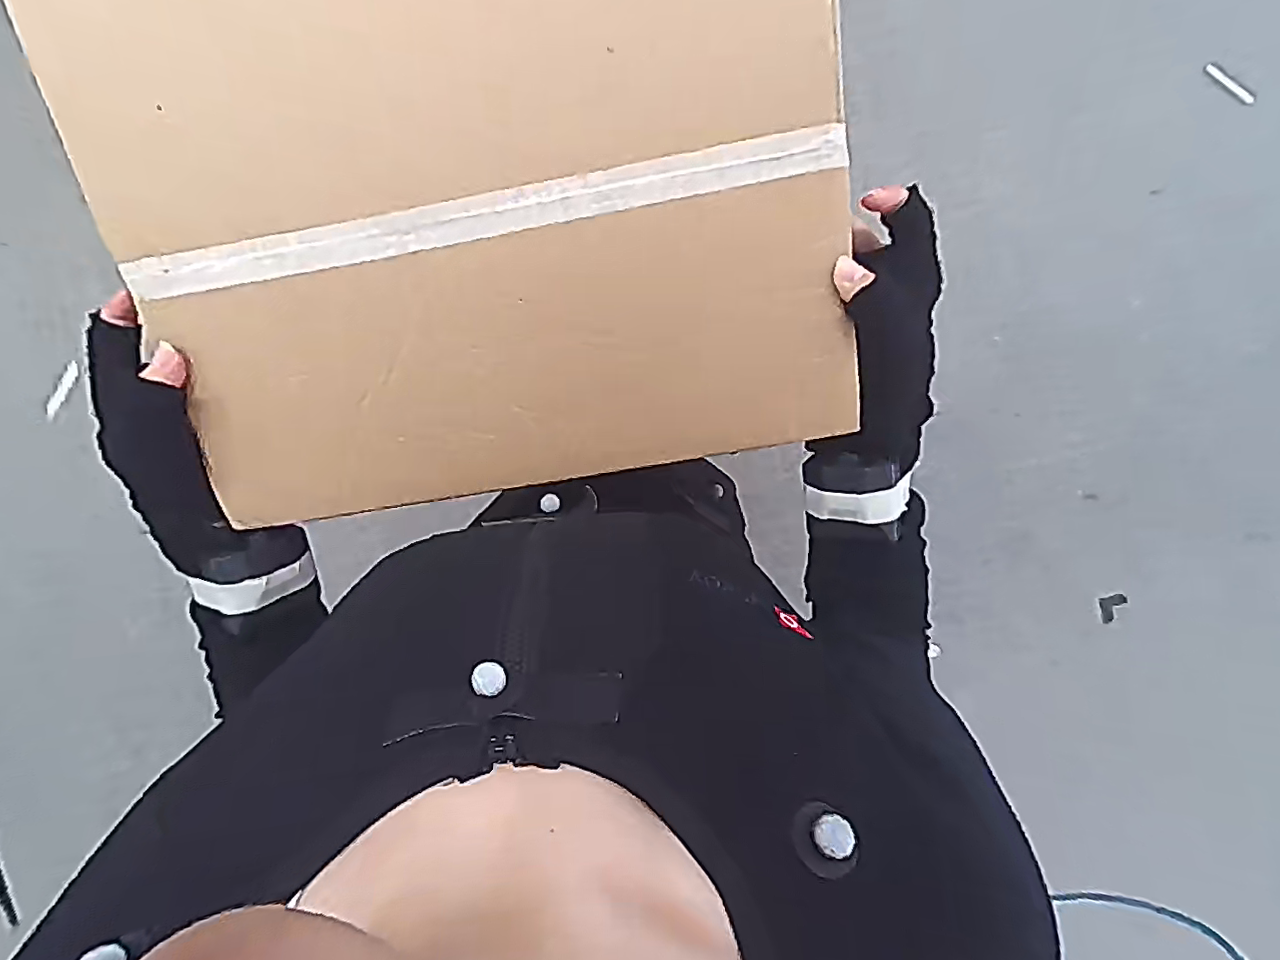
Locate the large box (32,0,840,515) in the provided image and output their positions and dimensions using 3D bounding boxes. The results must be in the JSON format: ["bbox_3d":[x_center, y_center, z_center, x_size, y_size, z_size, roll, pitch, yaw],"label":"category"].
[{"bbox_3d":[-0.092,-0.198,0.449,0.408,0.320,0.320,-9,107,3],"label":"large box"}]
